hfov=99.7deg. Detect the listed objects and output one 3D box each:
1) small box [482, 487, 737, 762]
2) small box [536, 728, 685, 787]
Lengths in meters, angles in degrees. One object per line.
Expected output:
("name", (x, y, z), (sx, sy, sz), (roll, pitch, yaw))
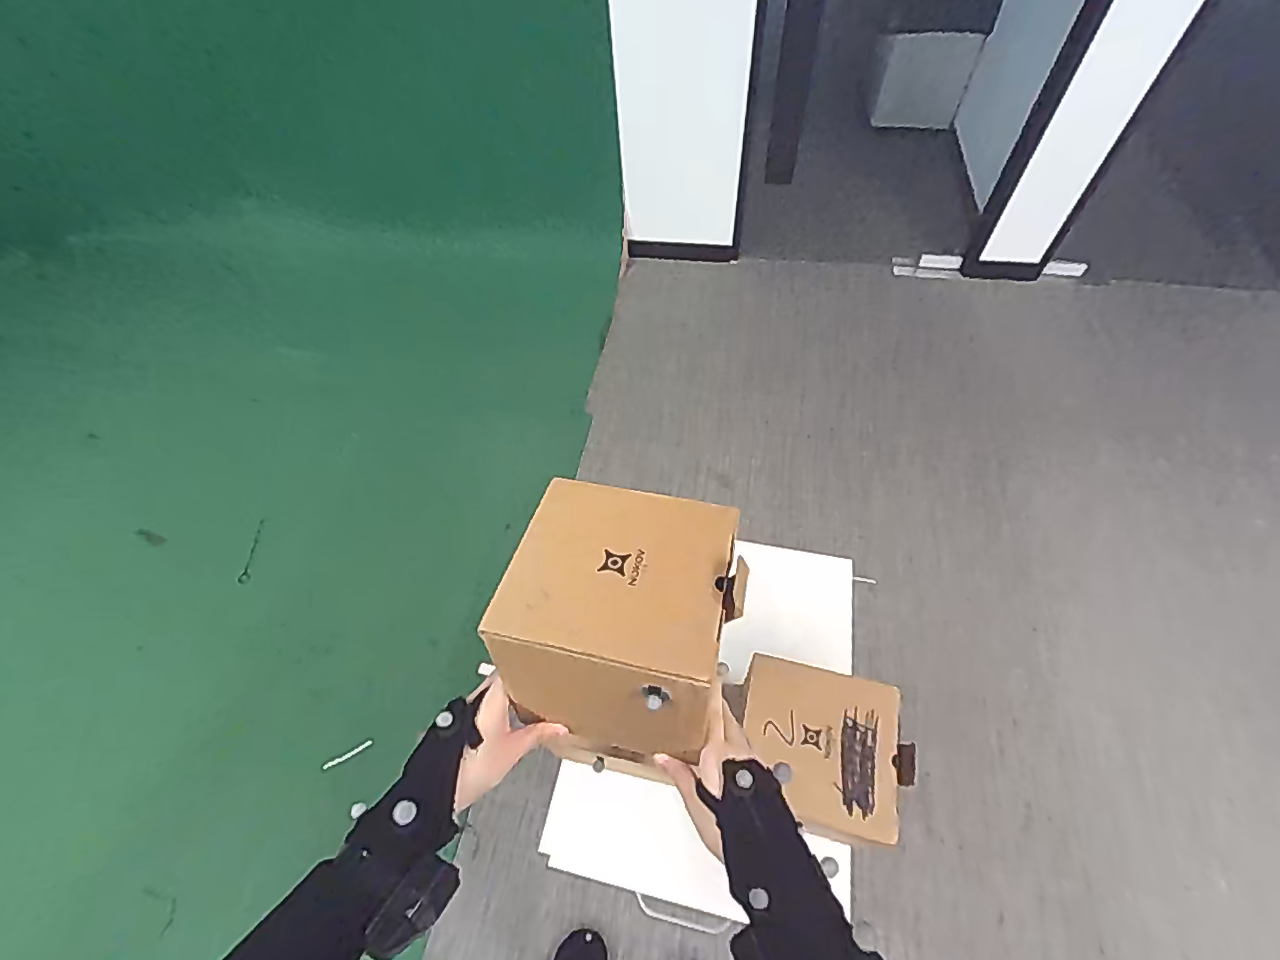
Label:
("small box", (-0.016, 0.132, 0.496), (0.179, 0.176, 0.168), (10, 45, 9))
("small box", (-0.018, 0.301, 0.727), (0.179, 0.176, 0.168), (9, 57, 9))
